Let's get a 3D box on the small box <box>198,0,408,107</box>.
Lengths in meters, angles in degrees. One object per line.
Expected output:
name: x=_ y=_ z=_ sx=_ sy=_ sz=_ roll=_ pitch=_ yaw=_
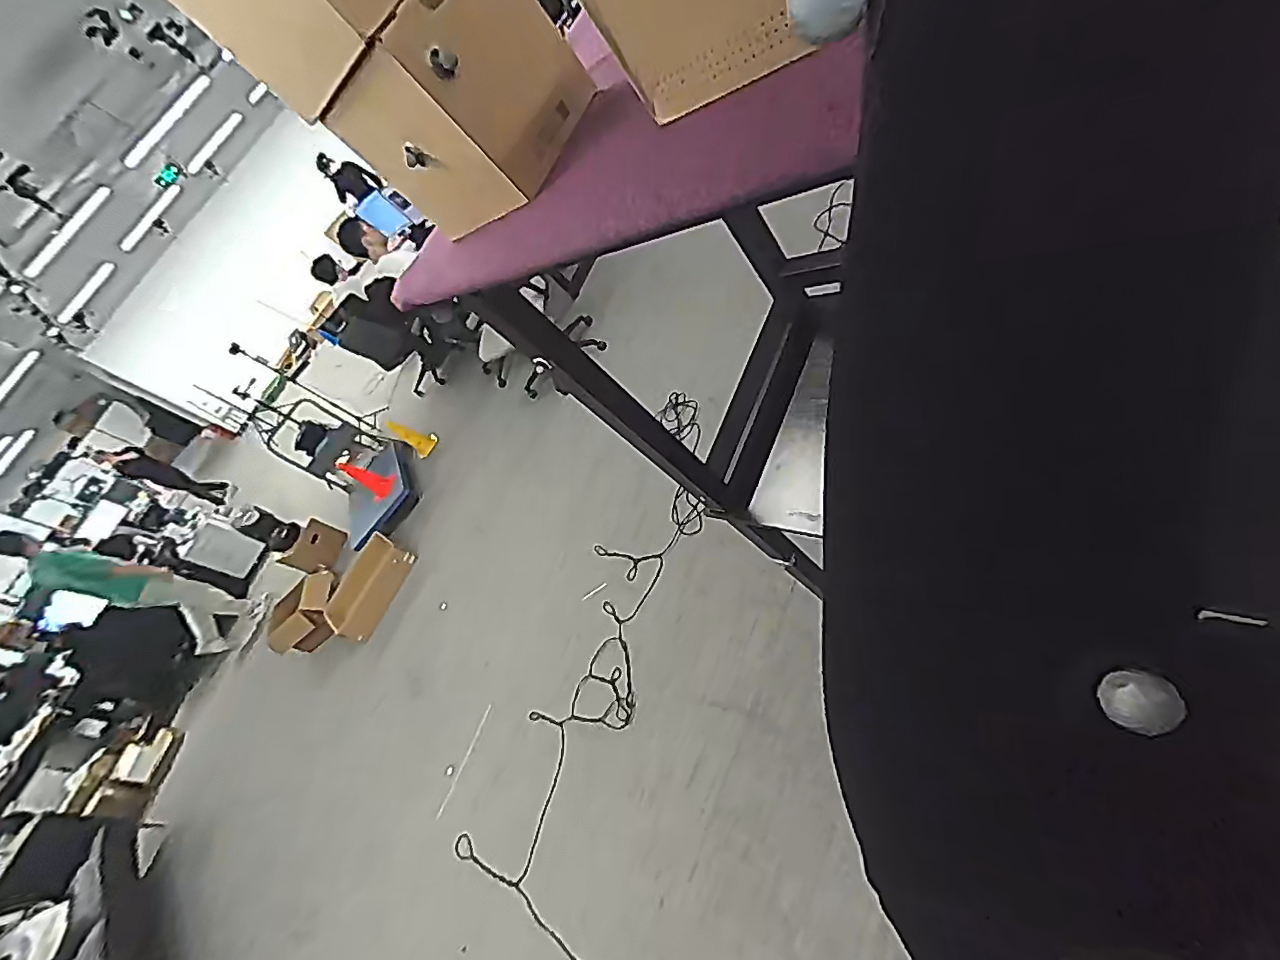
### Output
small box: x=-0.284 y=-0.463 z=0.450 sx=0.179 sy=0.176 sz=0.168 roll=8 pitch=69 yaw=45

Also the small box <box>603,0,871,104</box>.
small box: x=0.062 y=-0.372 z=0.316 sx=0.179 sy=0.176 sz=0.168 roll=11 pitch=71 yaw=47
